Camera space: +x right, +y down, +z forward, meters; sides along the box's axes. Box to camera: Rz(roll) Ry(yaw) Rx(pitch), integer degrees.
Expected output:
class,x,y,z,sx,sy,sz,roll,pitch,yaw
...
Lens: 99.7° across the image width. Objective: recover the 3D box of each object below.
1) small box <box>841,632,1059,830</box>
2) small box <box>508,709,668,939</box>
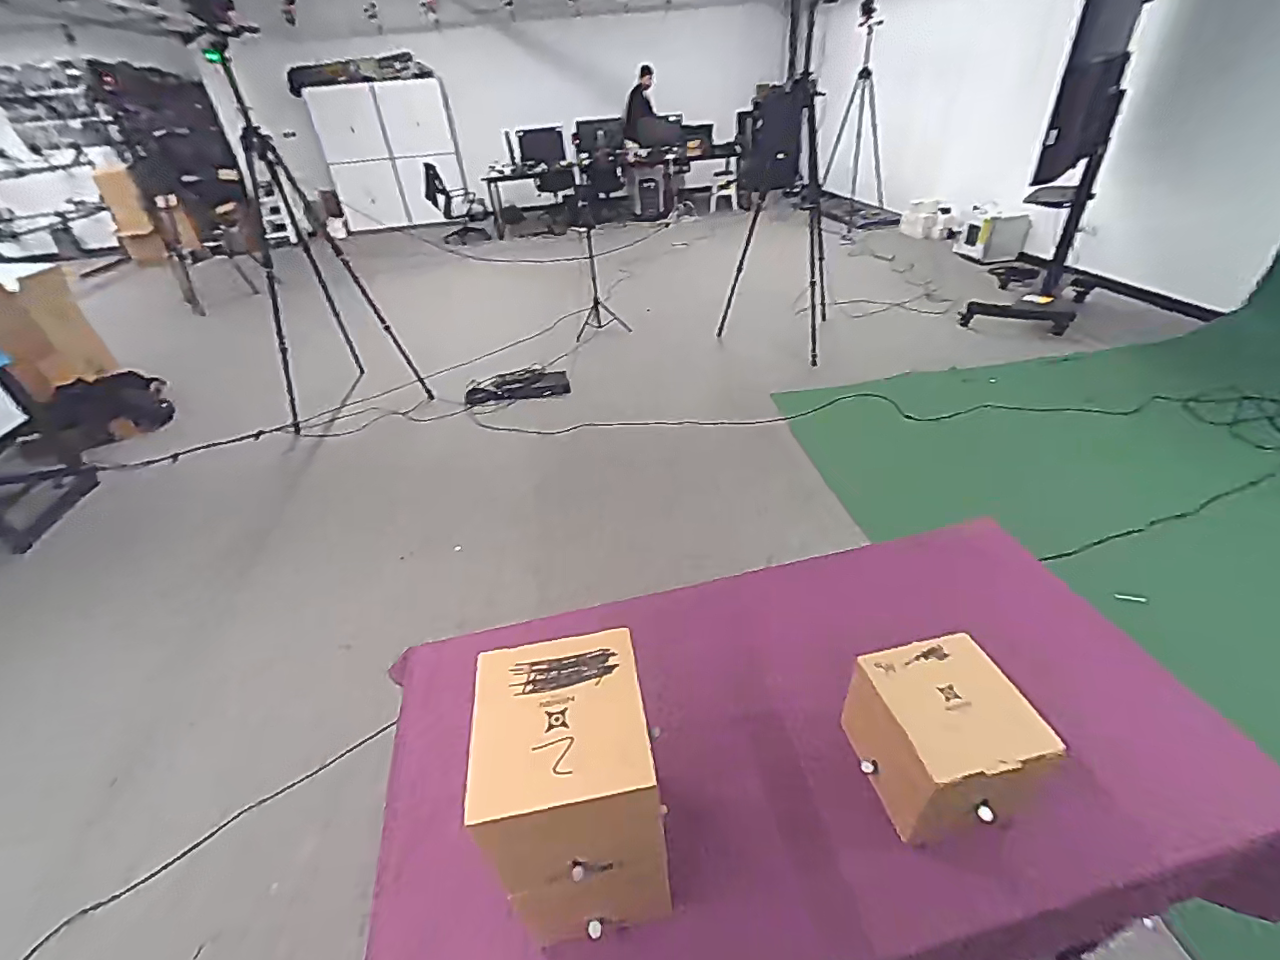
class,x,y,z,sx,sy,sz,roll,pitch,yaw
small box,0.394,0.338,0.725,0.168,0.176,0.179,-10,37,-7
small box,-0.062,0.421,0.670,0.168,0.176,0.179,-9,37,-5
